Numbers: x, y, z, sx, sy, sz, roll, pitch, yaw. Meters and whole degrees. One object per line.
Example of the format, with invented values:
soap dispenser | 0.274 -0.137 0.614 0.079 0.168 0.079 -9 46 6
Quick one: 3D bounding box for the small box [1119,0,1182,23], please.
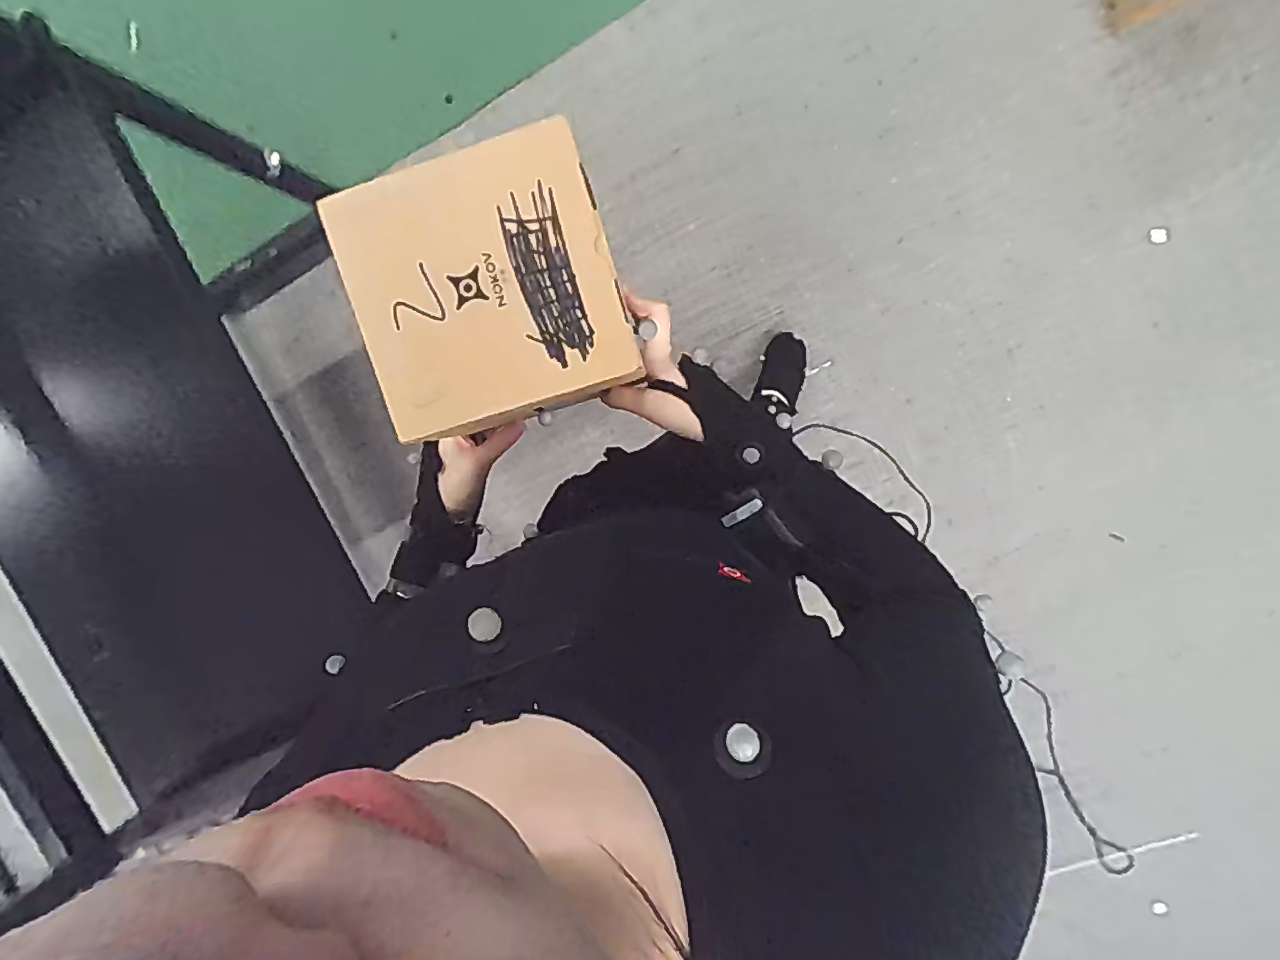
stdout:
small box | 1.078 -1.067 1.064 0.179 0.176 0.168 -20 95 13
